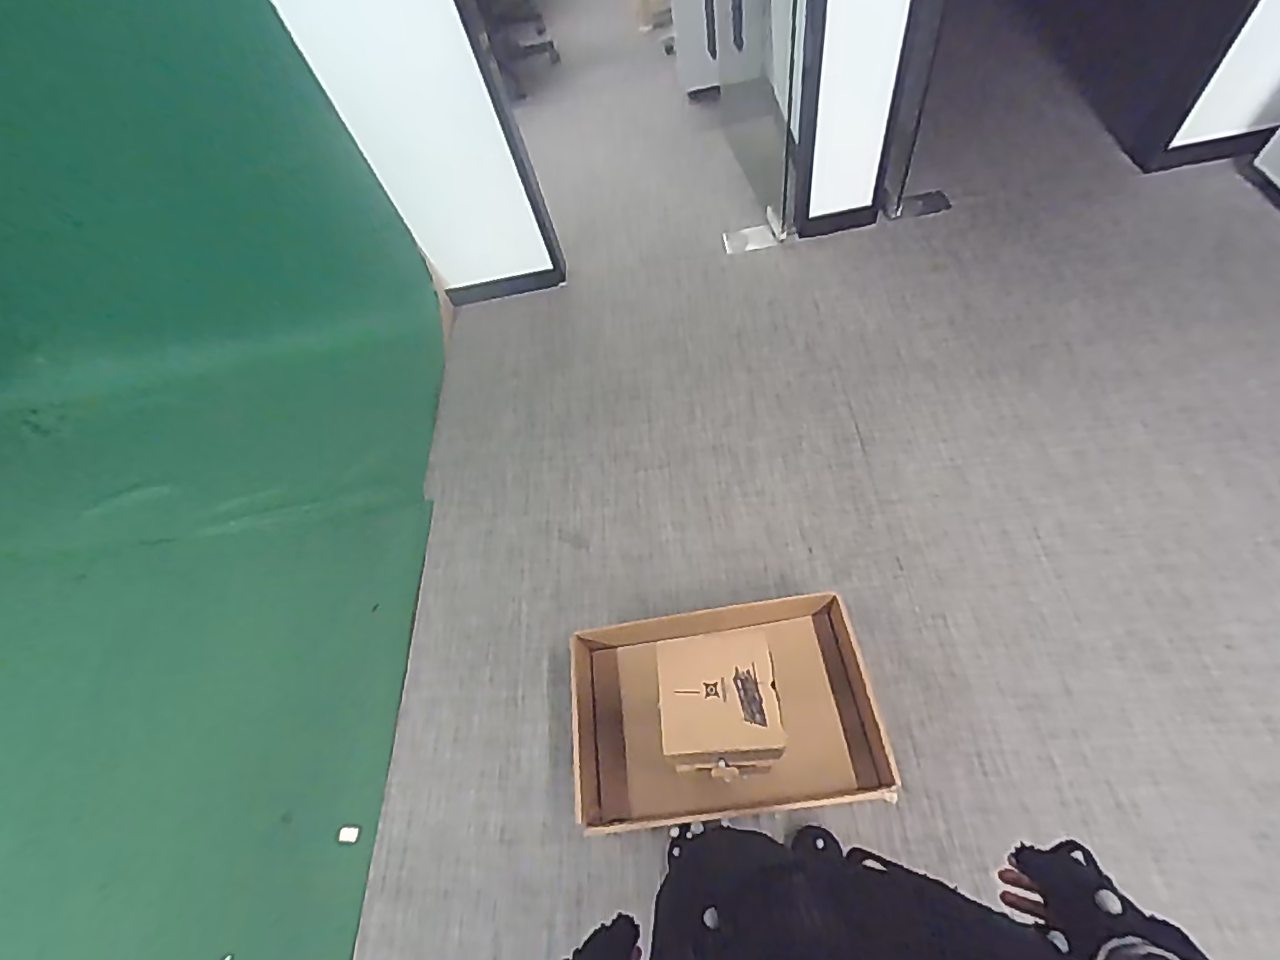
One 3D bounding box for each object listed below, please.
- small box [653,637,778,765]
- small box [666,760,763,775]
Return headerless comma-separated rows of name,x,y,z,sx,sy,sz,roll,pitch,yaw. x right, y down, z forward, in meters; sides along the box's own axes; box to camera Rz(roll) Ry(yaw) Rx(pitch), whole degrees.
small box,0.120,0.365,0.884,0.179,0.176,0.168,-6,56,7
small box,0.136,0.447,1.006,0.168,0.176,0.179,-6,58,6
